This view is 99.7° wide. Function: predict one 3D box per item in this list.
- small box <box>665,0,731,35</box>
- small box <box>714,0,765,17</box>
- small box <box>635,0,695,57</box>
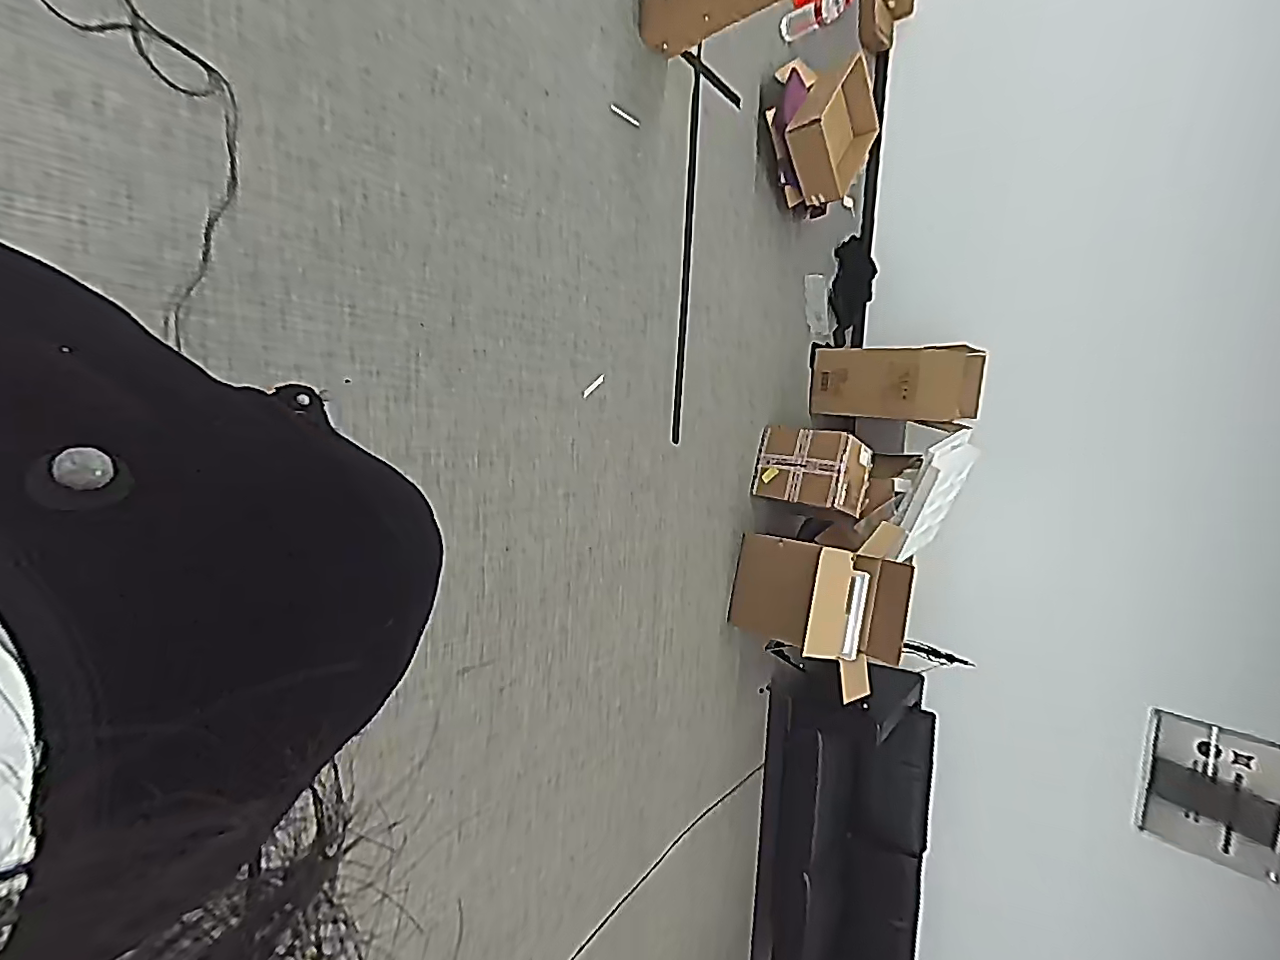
[{"bbox_3d":[0.212,-1.726,1.909,0.179,0.176,0.168,-3,99,-47],"label":"small box"},{"bbox_3d":[0.334,-1.706,1.803,0.179,0.176,0.168,-5,101,-48],"label":"small box"},{"bbox_3d":[0.095,-1.747,2.022,0.168,0.176,0.179,-3,99,-47],"label":"small box"}]
